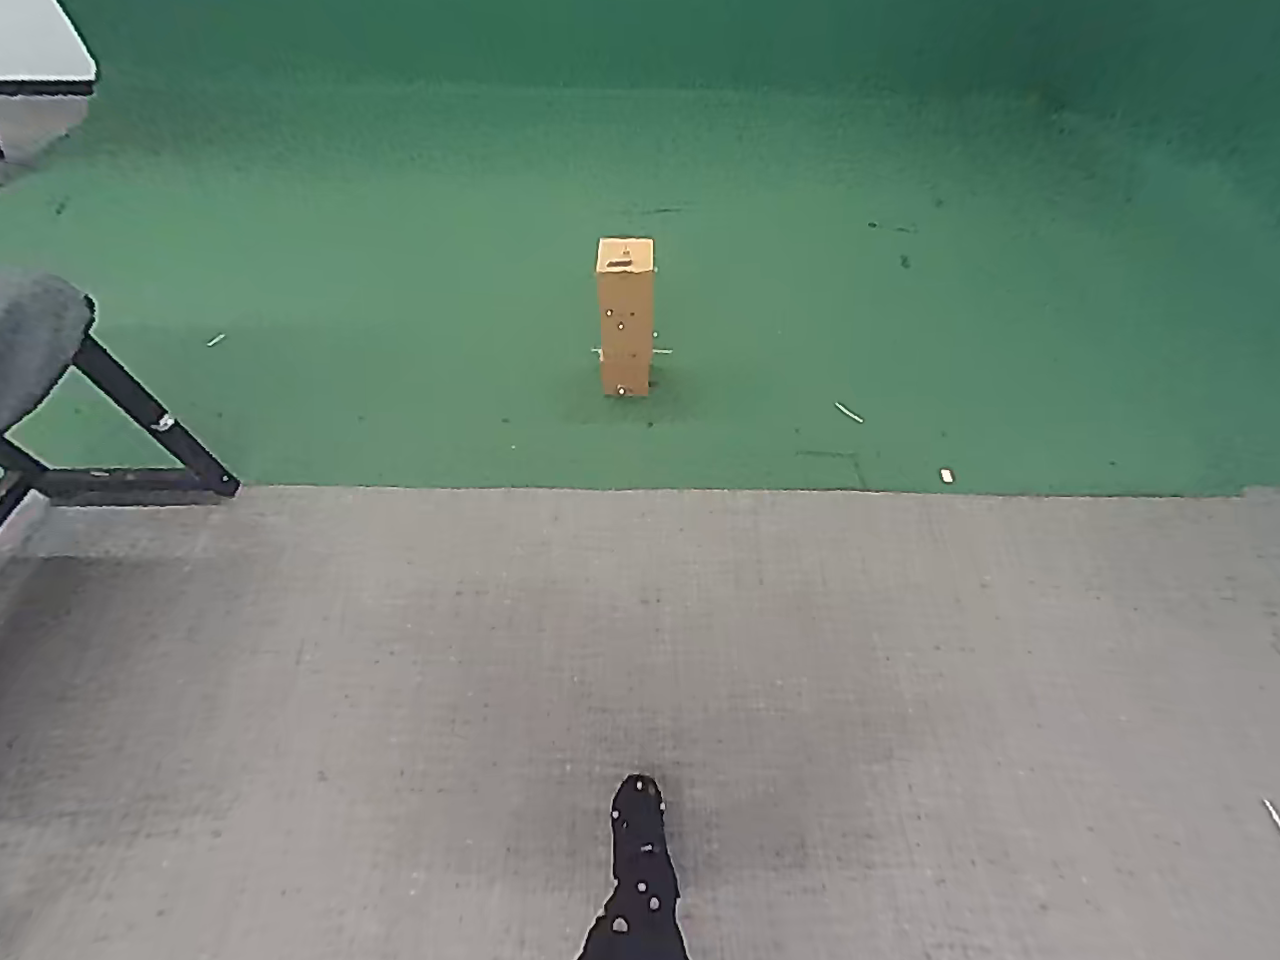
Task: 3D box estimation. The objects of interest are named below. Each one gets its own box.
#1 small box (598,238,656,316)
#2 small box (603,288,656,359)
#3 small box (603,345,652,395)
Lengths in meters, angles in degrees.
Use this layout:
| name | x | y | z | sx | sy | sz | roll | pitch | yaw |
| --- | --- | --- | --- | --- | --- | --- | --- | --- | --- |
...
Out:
| name | x | y | z | sx | sy | sz | roll | pitch | yaw |
| --- | --- | --- | --- | --- | --- | --- | --- | --- | --- |
| small box | -0.036 | -0.622 | 1.664 | 0.168 | 0.176 | 0.179 | 1 | 53 | 1 |
| small box | -0.032 | -0.526 | 1.798 | 0.168 | 0.176 | 0.179 | 1 | 53 | 1 |
| small box | -0.041 | -0.426 | 1.927 | 0.168 | 0.176 | 0.179 | 1 | 55 | 1 |
